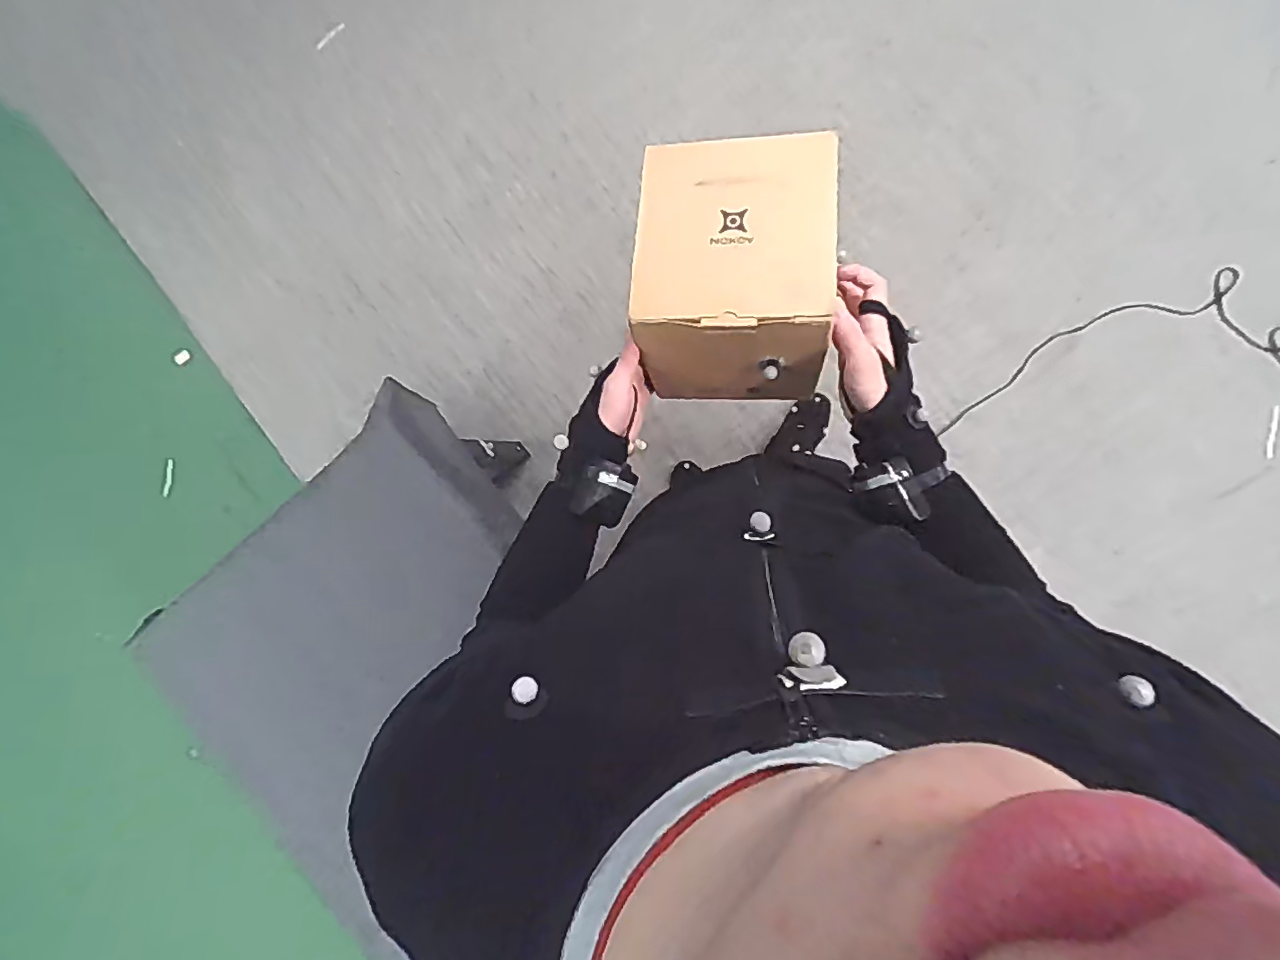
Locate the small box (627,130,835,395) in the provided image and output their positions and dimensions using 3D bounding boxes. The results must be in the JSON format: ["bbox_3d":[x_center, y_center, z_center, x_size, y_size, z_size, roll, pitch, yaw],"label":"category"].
[{"bbox_3d":[0.089,-0.192,0.522,0.168,0.176,0.179,2,76,10],"label":"small box"}]

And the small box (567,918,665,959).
[{"bbox_3d":[-0.034,0.812,0.795,0.179,0.176,0.168,-40,89,5],"label":"small box"}]
